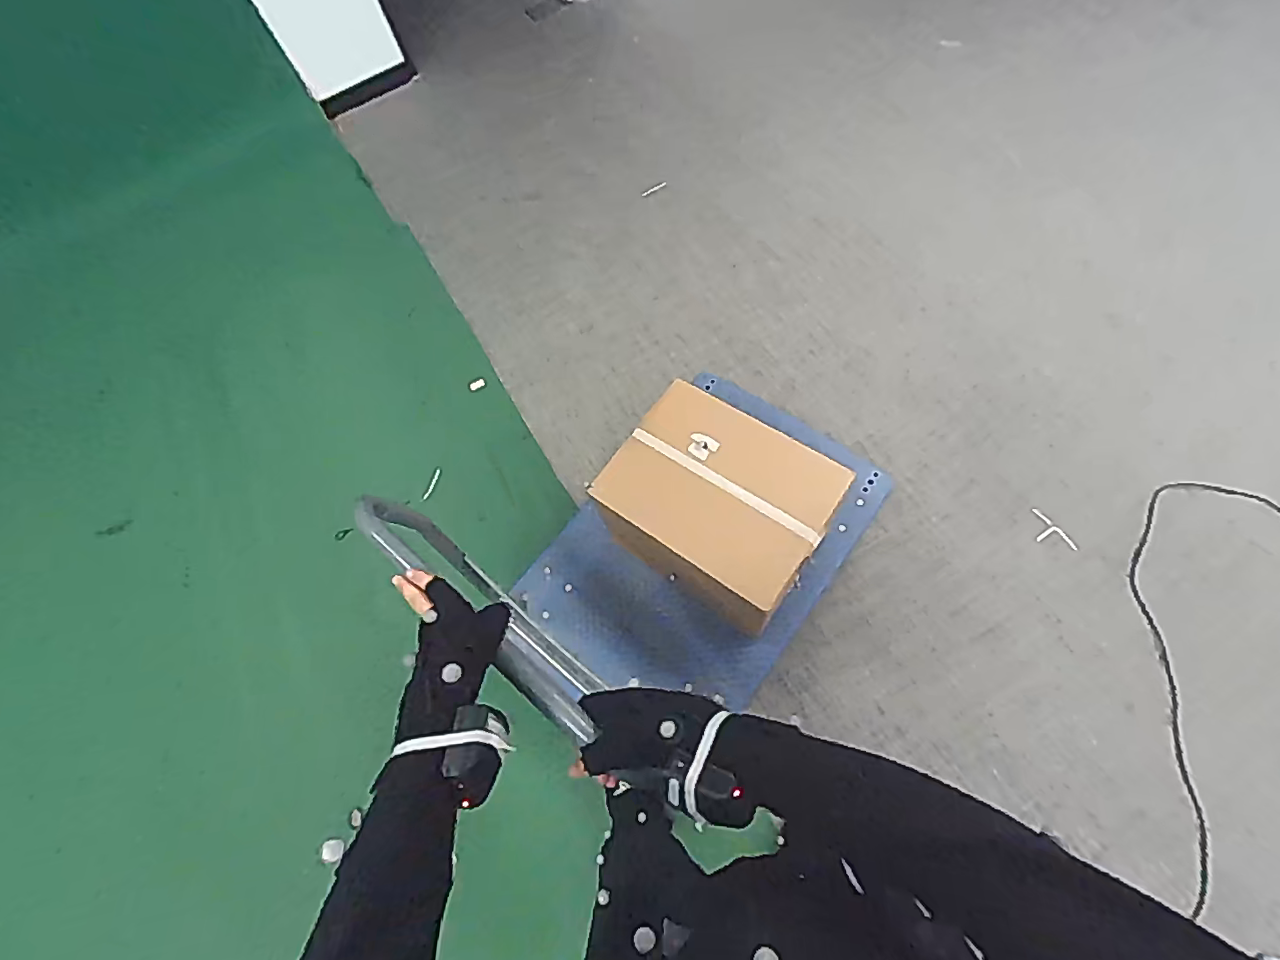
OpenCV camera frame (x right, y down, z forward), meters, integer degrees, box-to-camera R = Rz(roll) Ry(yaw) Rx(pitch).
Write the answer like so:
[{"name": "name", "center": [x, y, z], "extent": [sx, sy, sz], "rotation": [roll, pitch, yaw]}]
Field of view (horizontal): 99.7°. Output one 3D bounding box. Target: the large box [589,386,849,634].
[{"name": "large box", "center": [0.167, 0.073, 1.163], "extent": [0.408, 0.320, 0.320], "rotation": [32, 73, 21]}]
